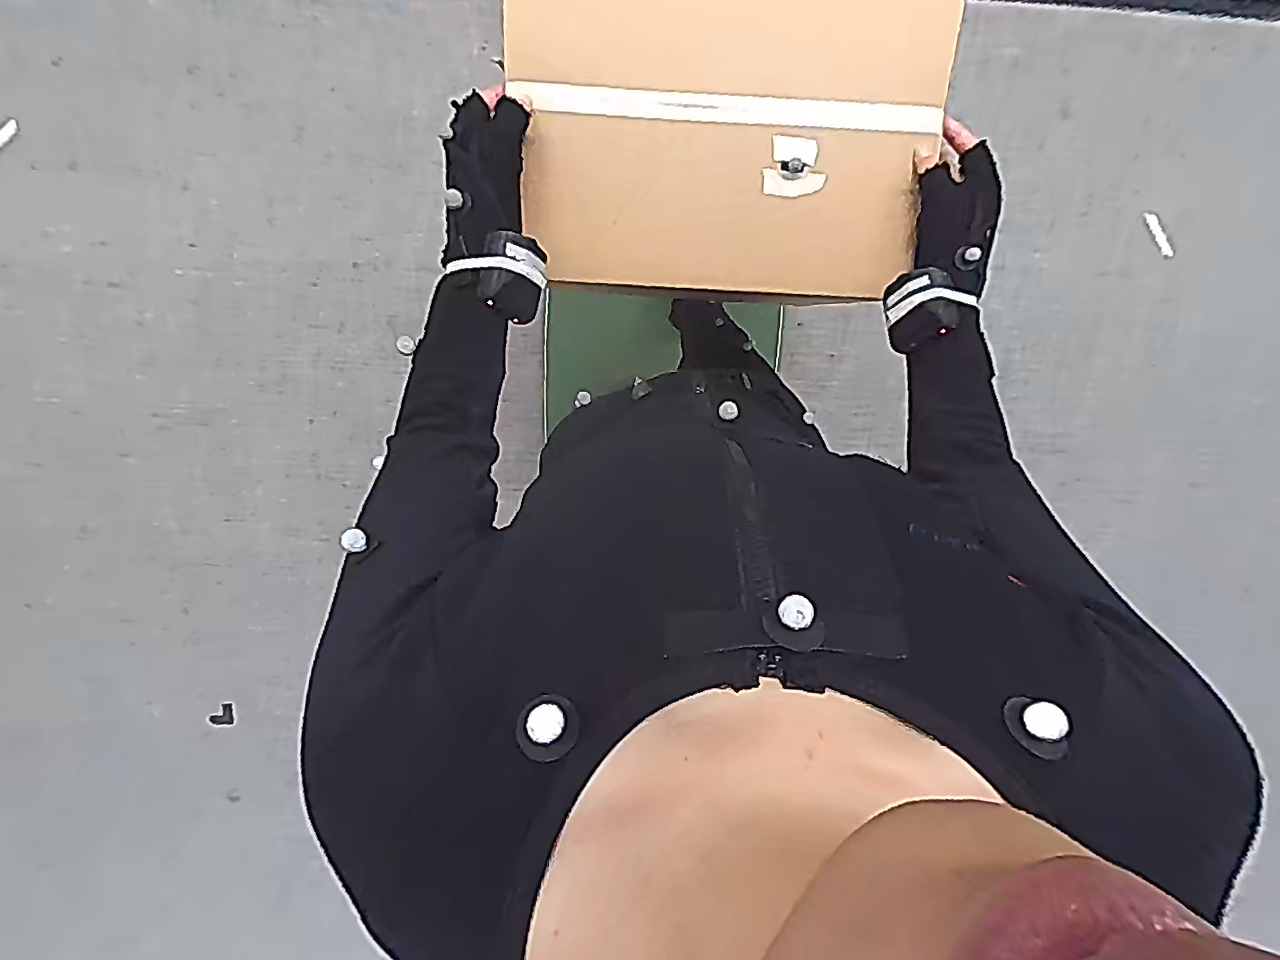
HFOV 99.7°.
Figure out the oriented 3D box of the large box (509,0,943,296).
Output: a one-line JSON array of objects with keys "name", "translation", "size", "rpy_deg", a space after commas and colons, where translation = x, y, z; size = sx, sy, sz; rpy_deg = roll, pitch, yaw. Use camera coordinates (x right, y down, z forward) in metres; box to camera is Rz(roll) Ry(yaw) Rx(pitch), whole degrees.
[{"name": "large box", "translation": [0.071, -0.398, 0.658], "size": [0.408, 0.320, 0.320], "rpy_deg": [1, 107, -3]}]
